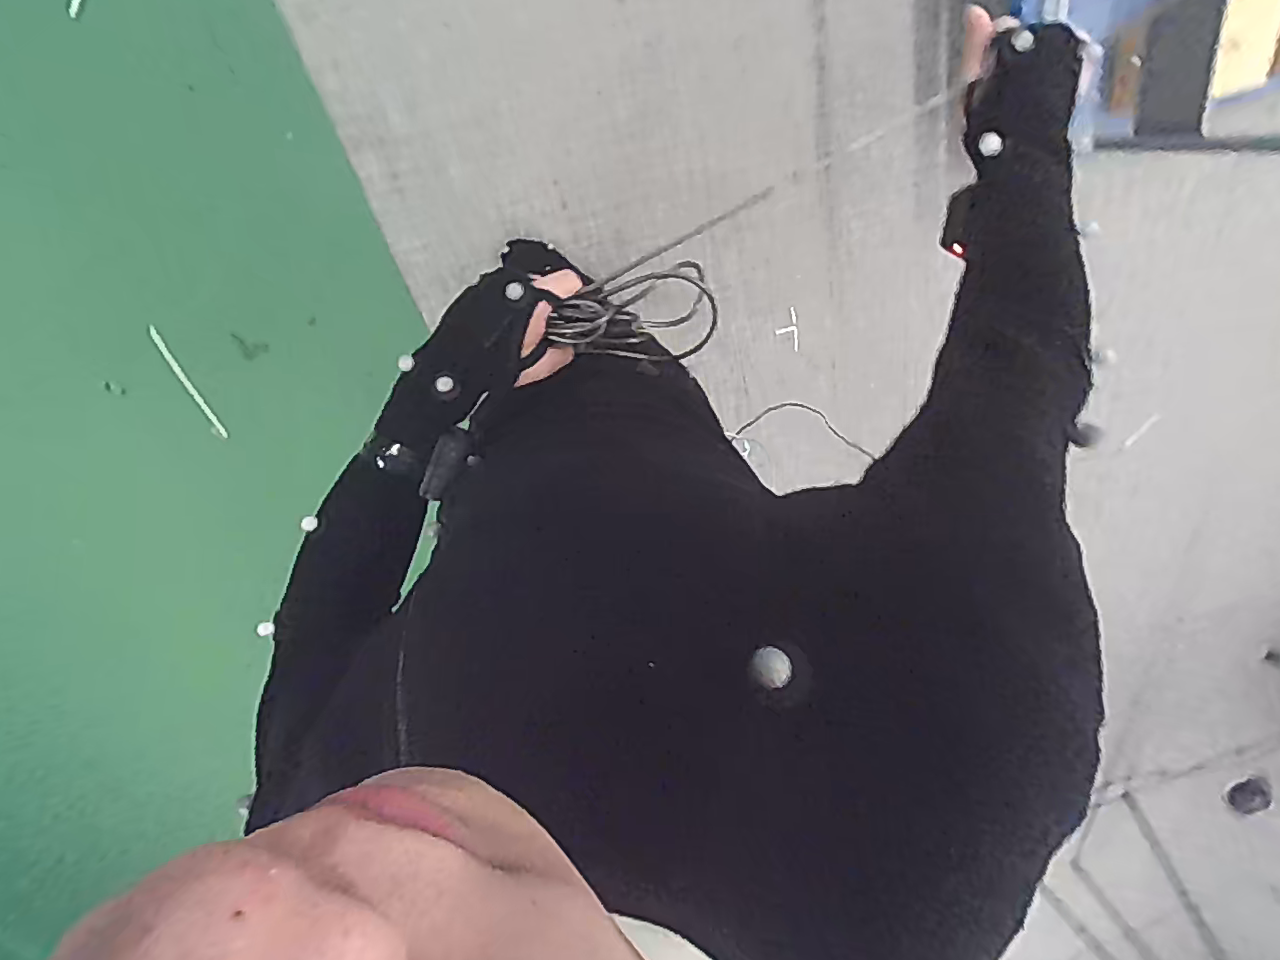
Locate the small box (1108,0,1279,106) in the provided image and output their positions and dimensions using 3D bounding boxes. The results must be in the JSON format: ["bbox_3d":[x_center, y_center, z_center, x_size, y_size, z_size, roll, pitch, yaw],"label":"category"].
[{"bbox_3d":[1.134,-0.894,1.114,0.179,0.176,0.168,-16,121,2],"label":"small box"}]
